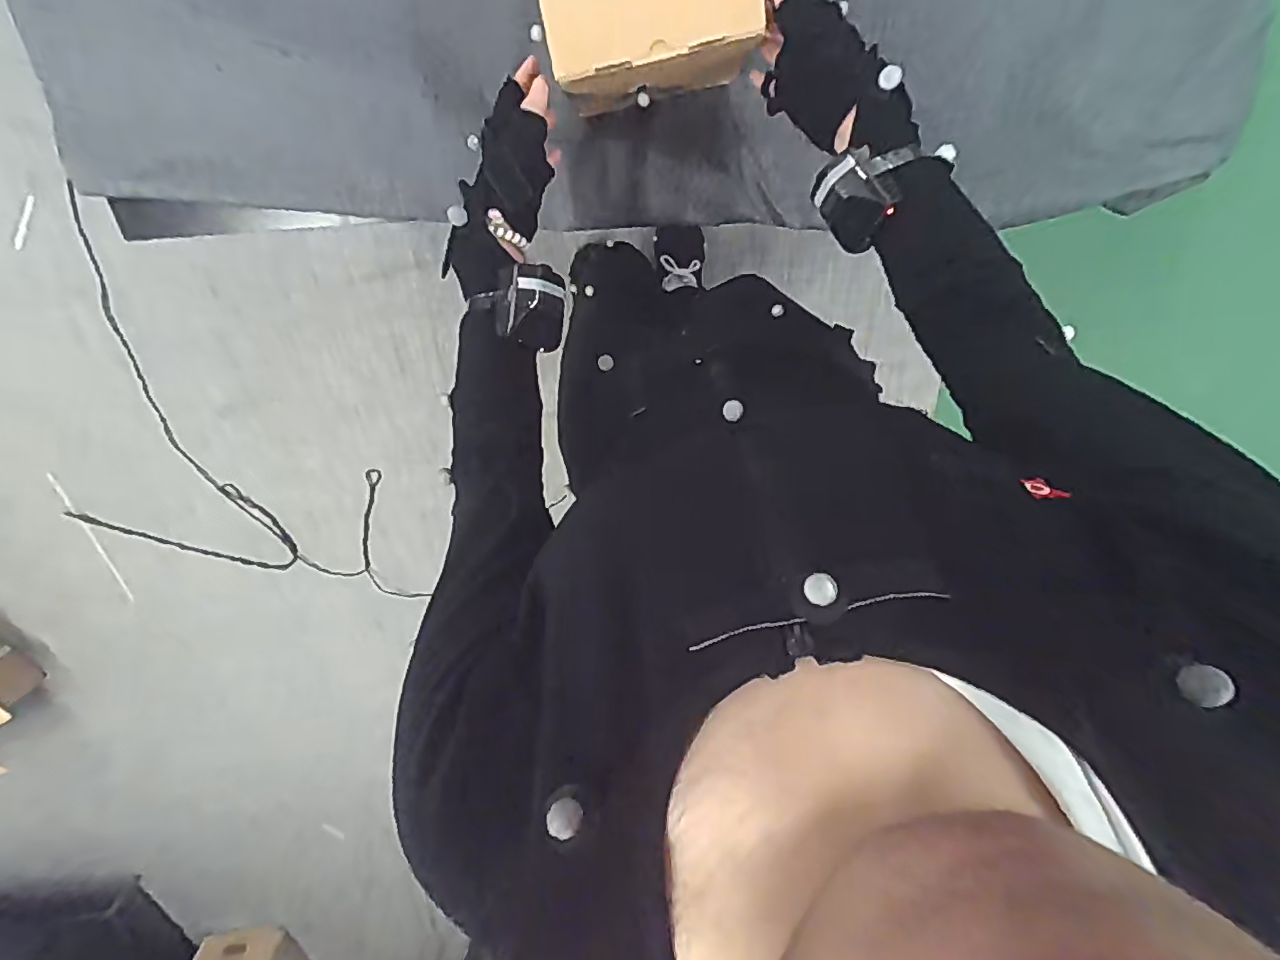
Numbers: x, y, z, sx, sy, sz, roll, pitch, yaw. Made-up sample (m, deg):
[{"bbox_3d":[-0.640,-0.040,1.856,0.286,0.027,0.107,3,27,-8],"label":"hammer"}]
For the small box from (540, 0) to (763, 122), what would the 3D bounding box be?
[{"bbox_3d":[-0.002,-0.430,0.454,0.168,0.176,0.179,-10,116,4],"label":"small box"}]
